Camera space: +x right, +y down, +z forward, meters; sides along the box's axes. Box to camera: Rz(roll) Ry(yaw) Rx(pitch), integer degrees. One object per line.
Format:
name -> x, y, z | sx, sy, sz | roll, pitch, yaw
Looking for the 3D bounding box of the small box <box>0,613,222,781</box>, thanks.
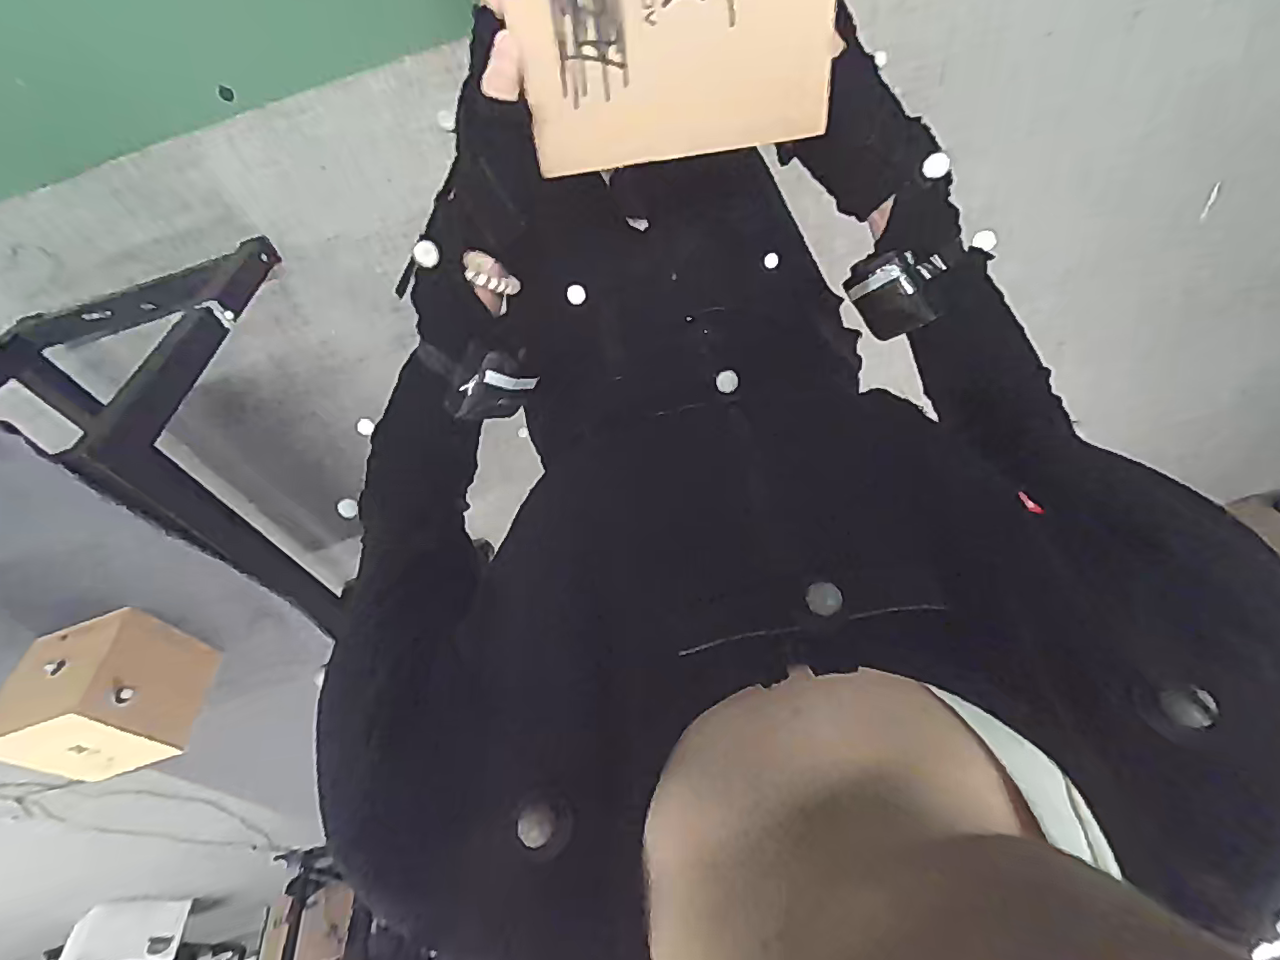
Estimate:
small box -> -0.792, 0.320, 0.814 | 0.168, 0.176, 0.179 | -19, 136, 4
